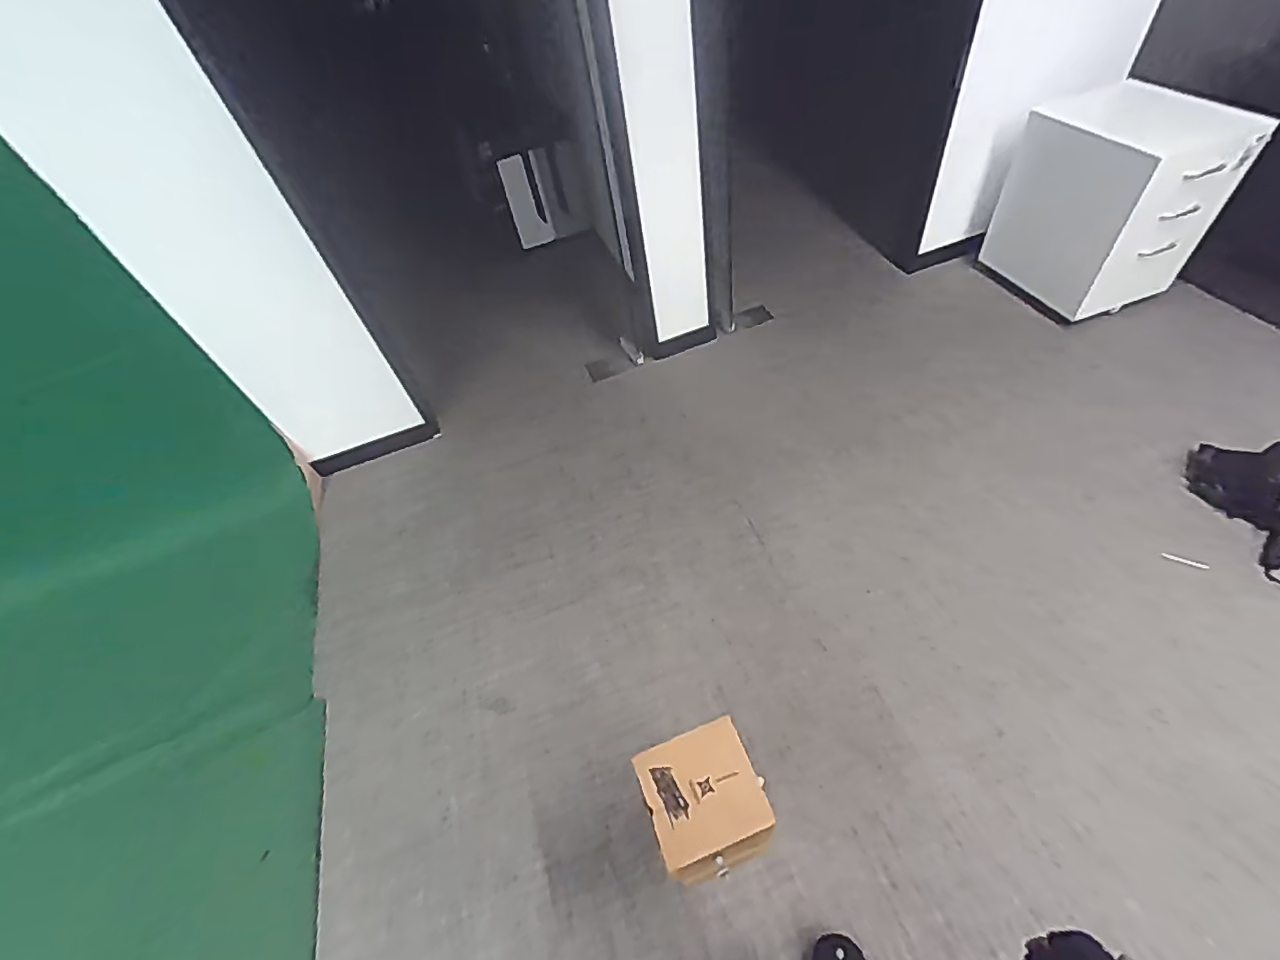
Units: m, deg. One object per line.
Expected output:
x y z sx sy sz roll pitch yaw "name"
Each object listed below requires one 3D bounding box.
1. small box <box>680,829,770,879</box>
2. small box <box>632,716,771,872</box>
0.129 0.620 1.019 0.168 0.176 0.179 -22 52 -5 "small box"
0.105 0.529 0.905 0.179 0.176 0.168 -21 51 -5 "small box"
